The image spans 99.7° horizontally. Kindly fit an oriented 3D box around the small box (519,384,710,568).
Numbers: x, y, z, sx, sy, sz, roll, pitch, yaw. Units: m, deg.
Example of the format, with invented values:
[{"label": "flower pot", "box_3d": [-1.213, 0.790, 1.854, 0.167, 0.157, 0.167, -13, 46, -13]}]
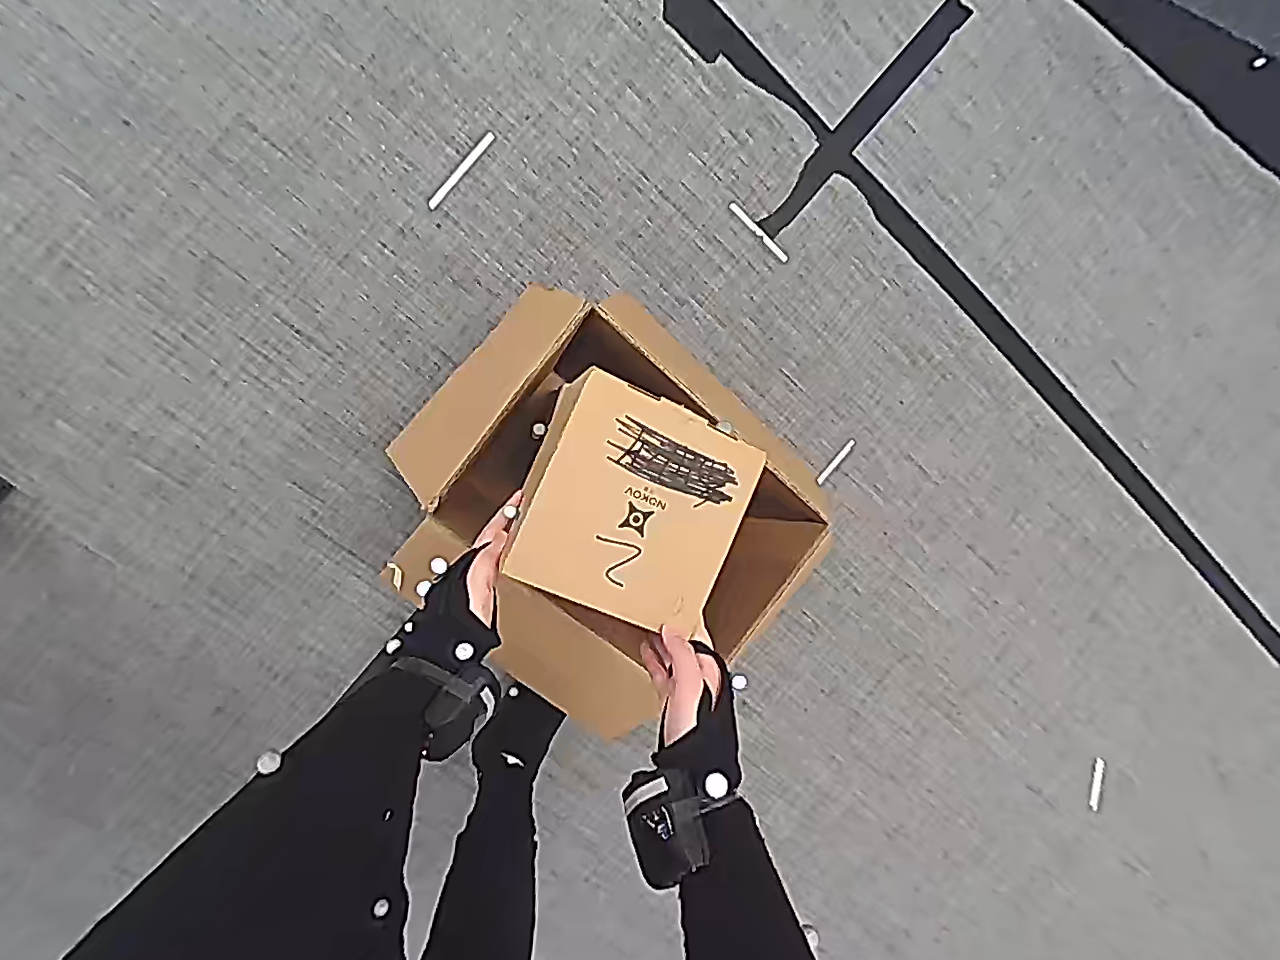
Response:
[{"label": "small box", "box_3d": [-0.042, -0.010, 0.677, 0.179, 0.176, 0.168, 19, 94, -14]}]
